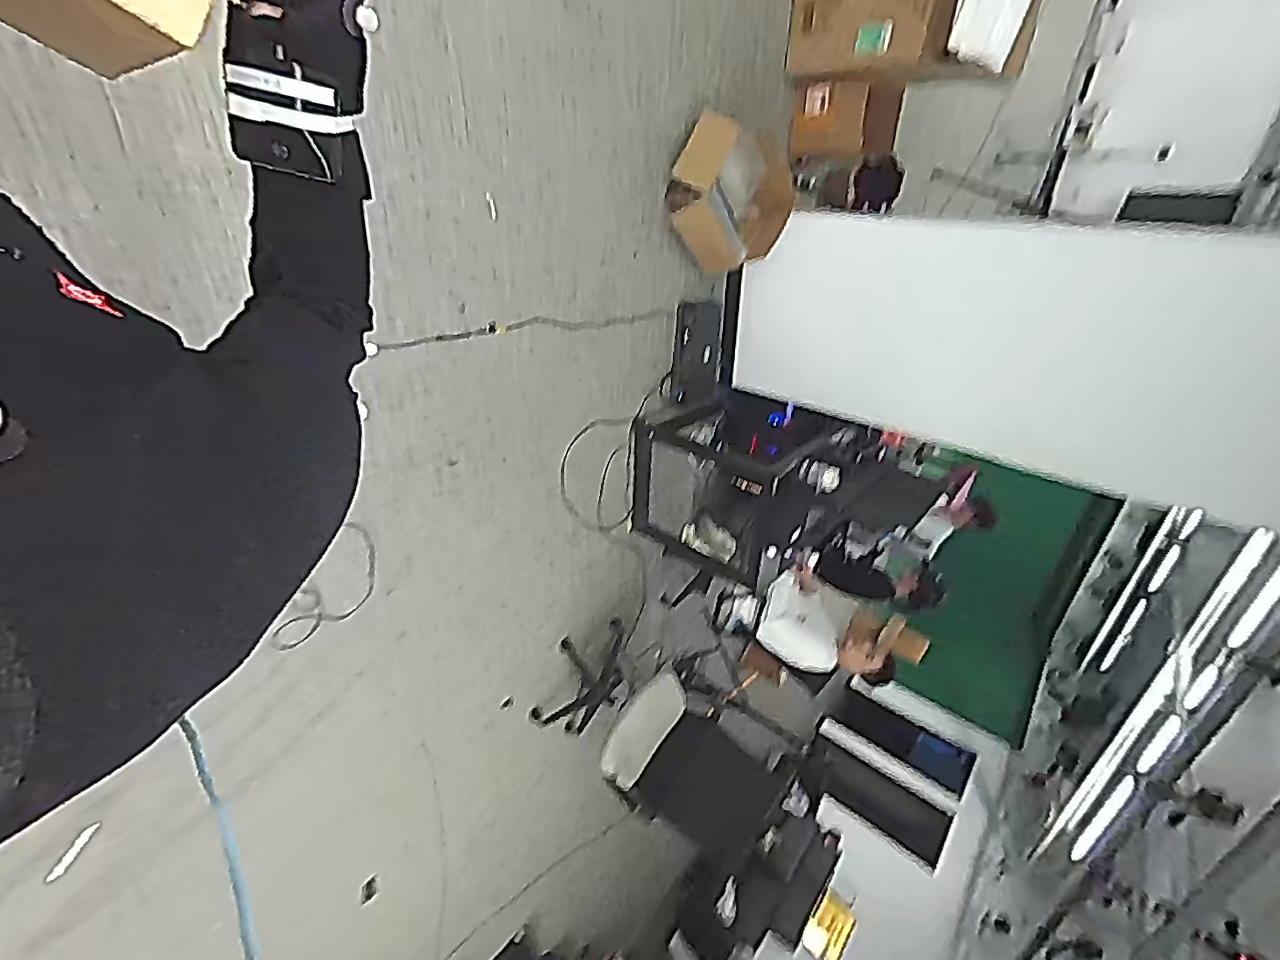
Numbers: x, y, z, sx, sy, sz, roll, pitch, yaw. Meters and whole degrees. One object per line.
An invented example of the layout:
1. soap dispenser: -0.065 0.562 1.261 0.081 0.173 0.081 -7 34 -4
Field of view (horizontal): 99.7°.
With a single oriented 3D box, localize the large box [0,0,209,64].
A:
1. large box: -0.420 -0.469 0.213 0.408 0.320 0.320 13 103 -54
